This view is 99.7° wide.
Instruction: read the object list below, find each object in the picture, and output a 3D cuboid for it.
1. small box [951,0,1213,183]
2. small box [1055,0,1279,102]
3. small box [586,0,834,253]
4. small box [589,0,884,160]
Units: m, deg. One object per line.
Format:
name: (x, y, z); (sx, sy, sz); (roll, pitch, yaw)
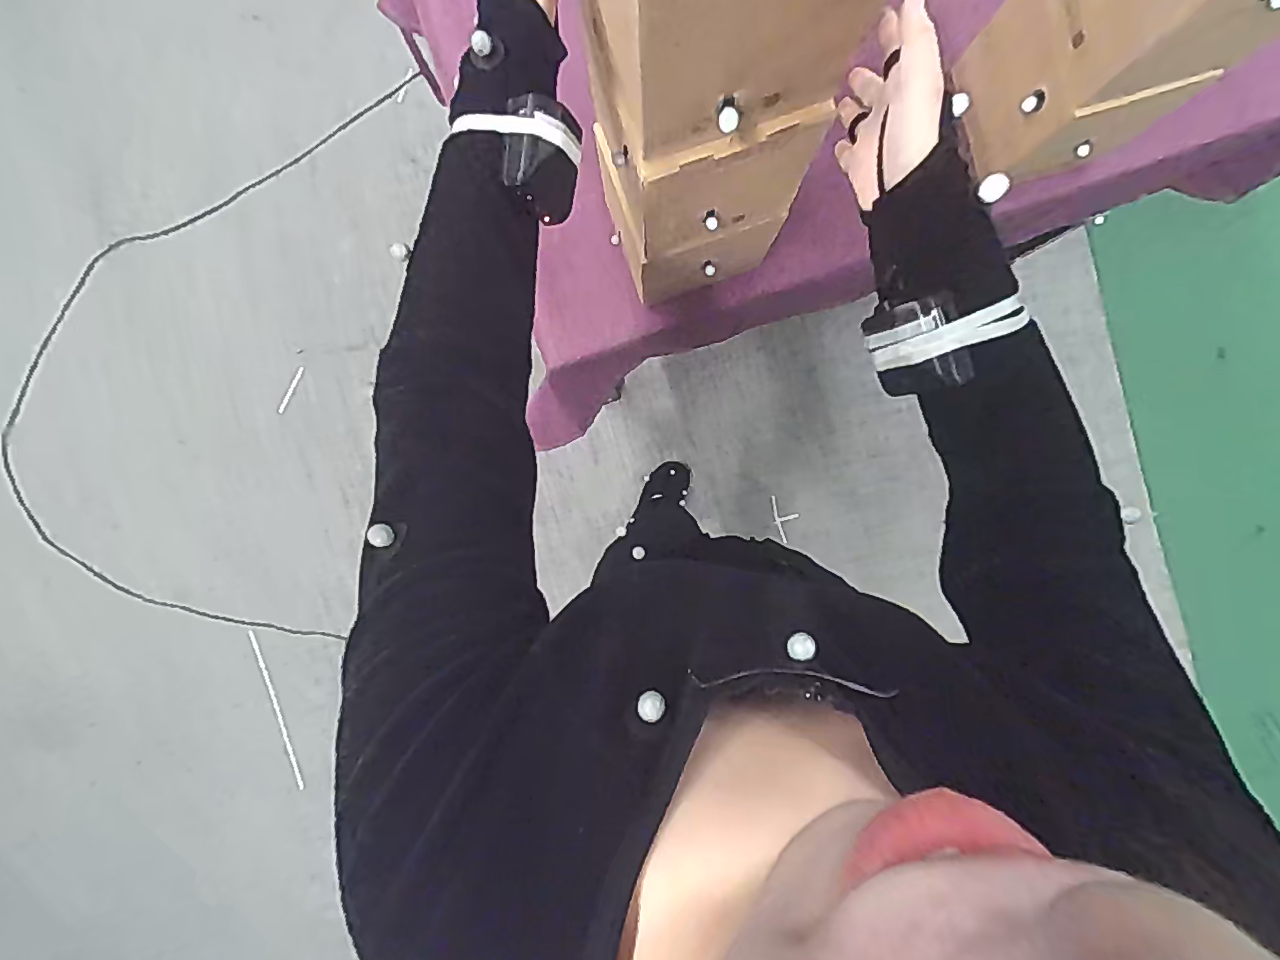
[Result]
small box: (0.524, -0.498, 0.667); (0.168, 0.176, 0.179); (-16, 92, 1)
small box: (0.529, -0.497, 0.502); (0.179, 0.176, 0.168); (-15, 92, 0)
small box: (0.054, -0.350, 0.514); (0.168, 0.176, 0.179); (-19, 92, 1)
small box: (0.050, -0.355, 0.351); (0.168, 0.176, 0.179); (-18, 93, 2)
